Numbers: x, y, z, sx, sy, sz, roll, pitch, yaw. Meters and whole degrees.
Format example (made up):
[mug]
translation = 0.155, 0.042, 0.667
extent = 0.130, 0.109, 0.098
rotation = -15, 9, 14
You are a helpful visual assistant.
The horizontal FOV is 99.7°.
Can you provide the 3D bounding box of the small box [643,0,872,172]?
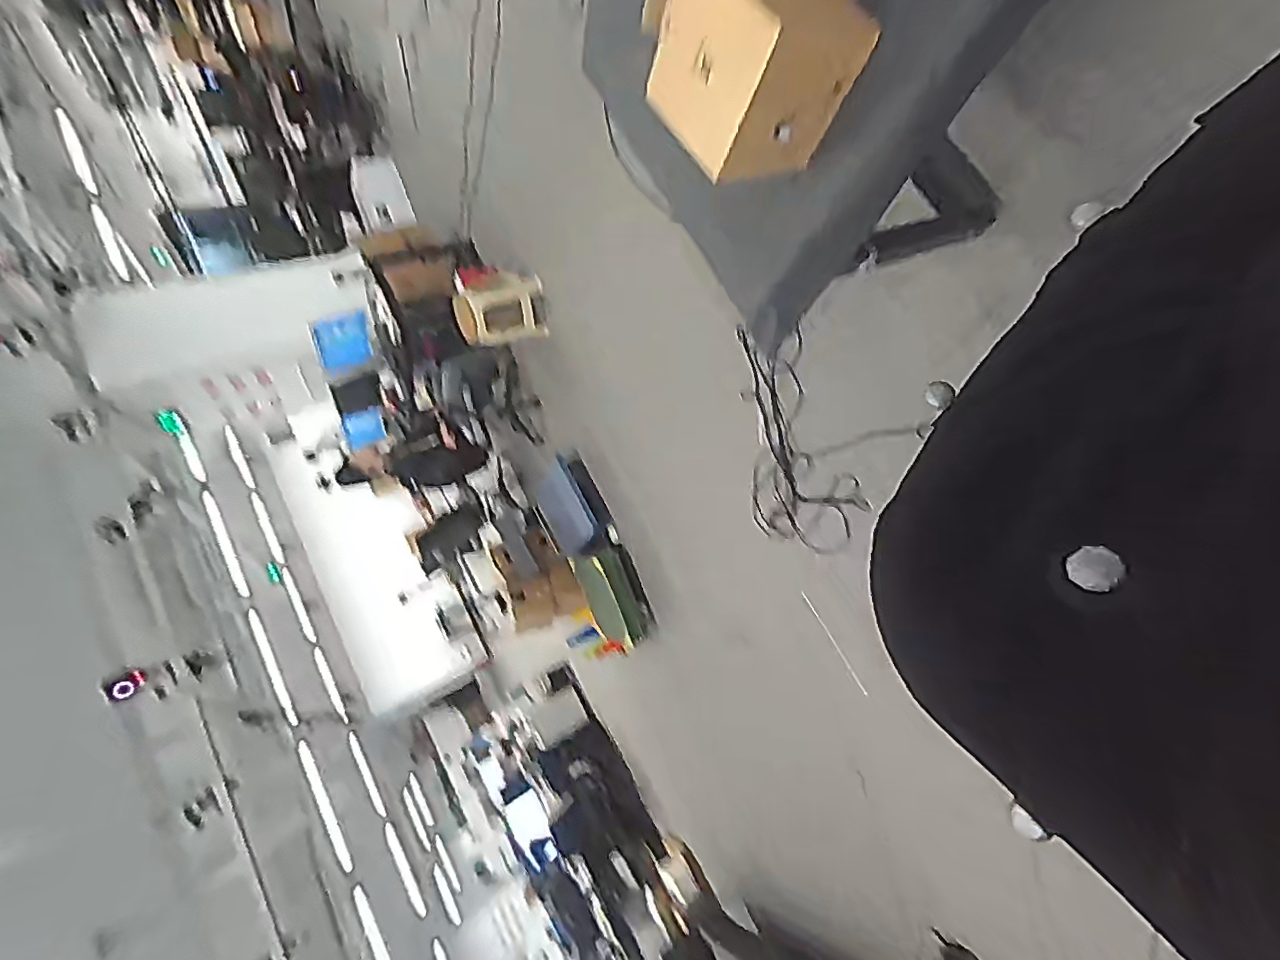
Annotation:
[small box]
translation = 0.135, -0.509, 0.649
extent = 0.179, 0.176, 0.168
rotation = 59, 151, 15
